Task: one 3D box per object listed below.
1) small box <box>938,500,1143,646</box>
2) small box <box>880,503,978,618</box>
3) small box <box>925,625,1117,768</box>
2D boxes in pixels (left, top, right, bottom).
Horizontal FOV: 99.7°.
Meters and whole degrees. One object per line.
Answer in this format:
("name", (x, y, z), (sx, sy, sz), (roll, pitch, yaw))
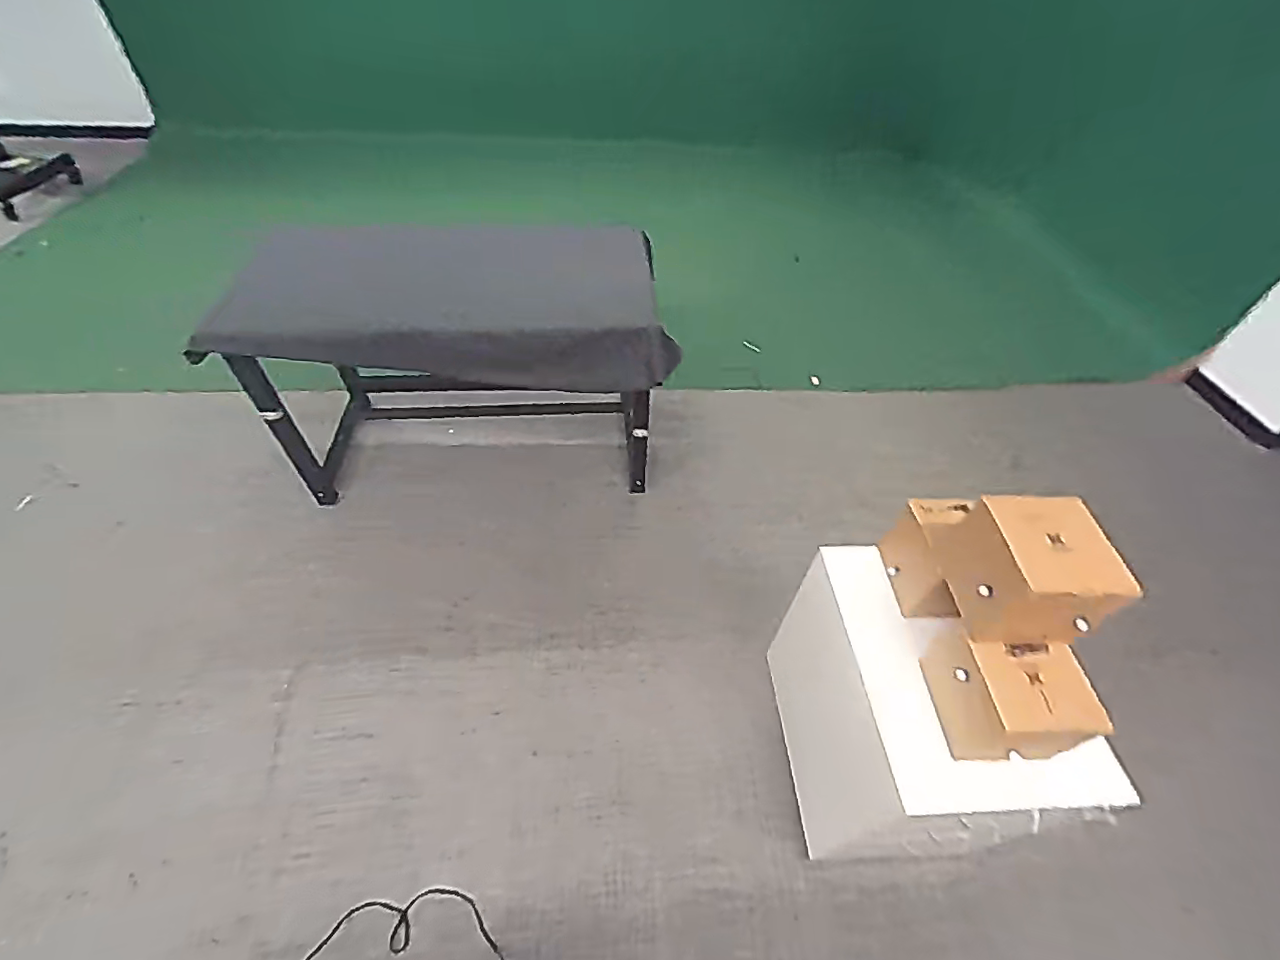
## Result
("small box", (0.617, 0.151, 0.863), (0.168, 0.176, 0.179), (2, 48, -3))
("small box", (0.606, 0.164, 1.067), (0.168, 0.176, 0.179), (0, 51, -3))
("small box", (0.607, 0.358, 0.895), (0.168, 0.176, 0.179), (1, 49, -1))
